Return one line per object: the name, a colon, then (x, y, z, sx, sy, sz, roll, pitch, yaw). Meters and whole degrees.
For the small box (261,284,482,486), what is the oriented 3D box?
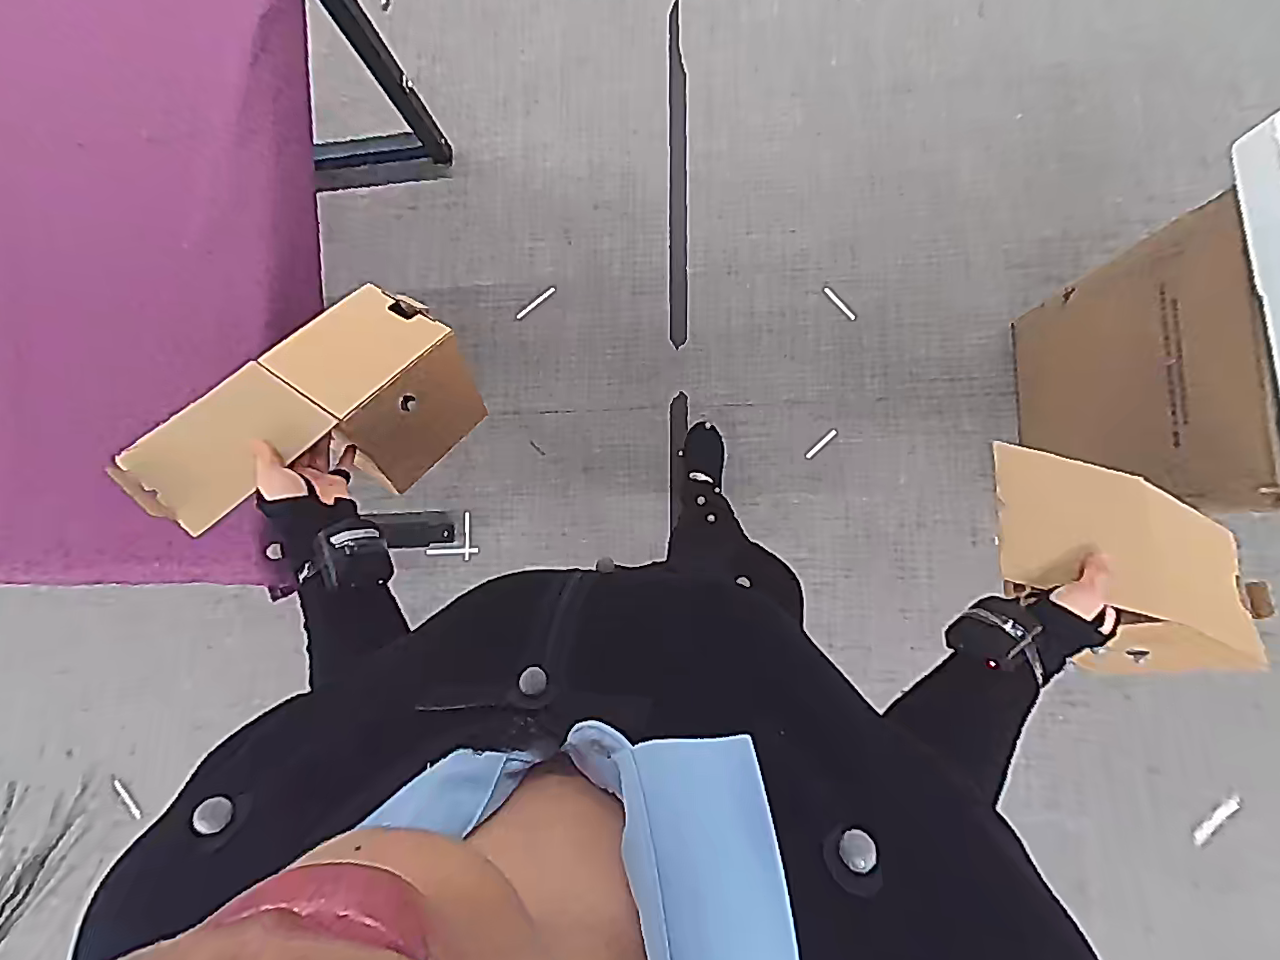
small box: (-0.343, -0.122, 0.728, 0.168, 0.176, 0.179, 31, 63, 19)
